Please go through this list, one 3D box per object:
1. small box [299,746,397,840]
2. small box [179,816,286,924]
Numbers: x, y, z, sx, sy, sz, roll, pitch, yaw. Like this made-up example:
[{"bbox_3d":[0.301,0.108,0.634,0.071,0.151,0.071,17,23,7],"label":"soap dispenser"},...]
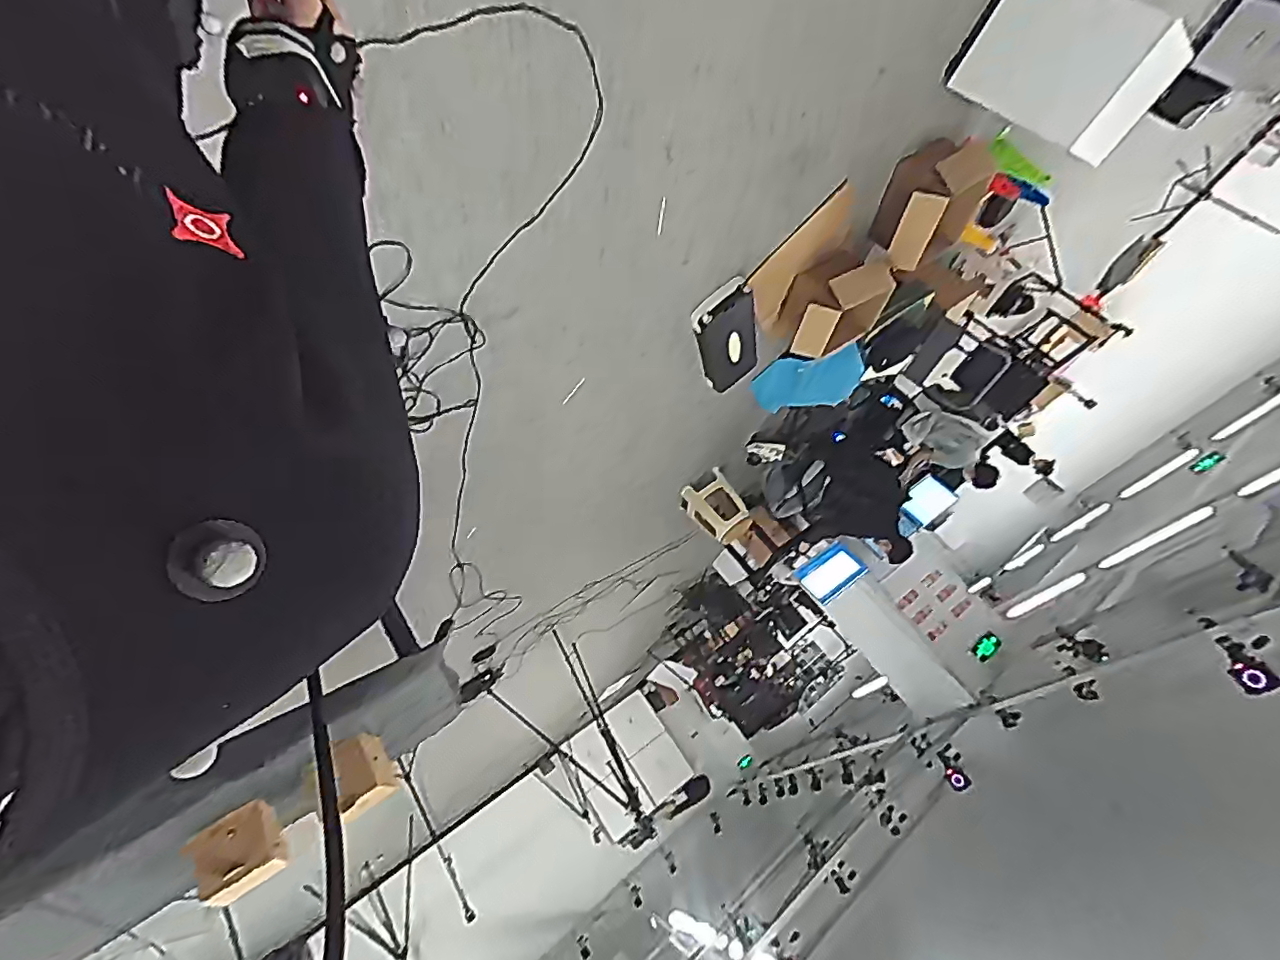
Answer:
[{"bbox_3d":[-0.835,0.889,1.547,0.168,0.176,0.179,-31,157,-19],"label":"small box"},{"bbox_3d":[-1.073,1.027,1.429,0.168,0.176,0.179,-25,152,-32],"label":"small box"}]
